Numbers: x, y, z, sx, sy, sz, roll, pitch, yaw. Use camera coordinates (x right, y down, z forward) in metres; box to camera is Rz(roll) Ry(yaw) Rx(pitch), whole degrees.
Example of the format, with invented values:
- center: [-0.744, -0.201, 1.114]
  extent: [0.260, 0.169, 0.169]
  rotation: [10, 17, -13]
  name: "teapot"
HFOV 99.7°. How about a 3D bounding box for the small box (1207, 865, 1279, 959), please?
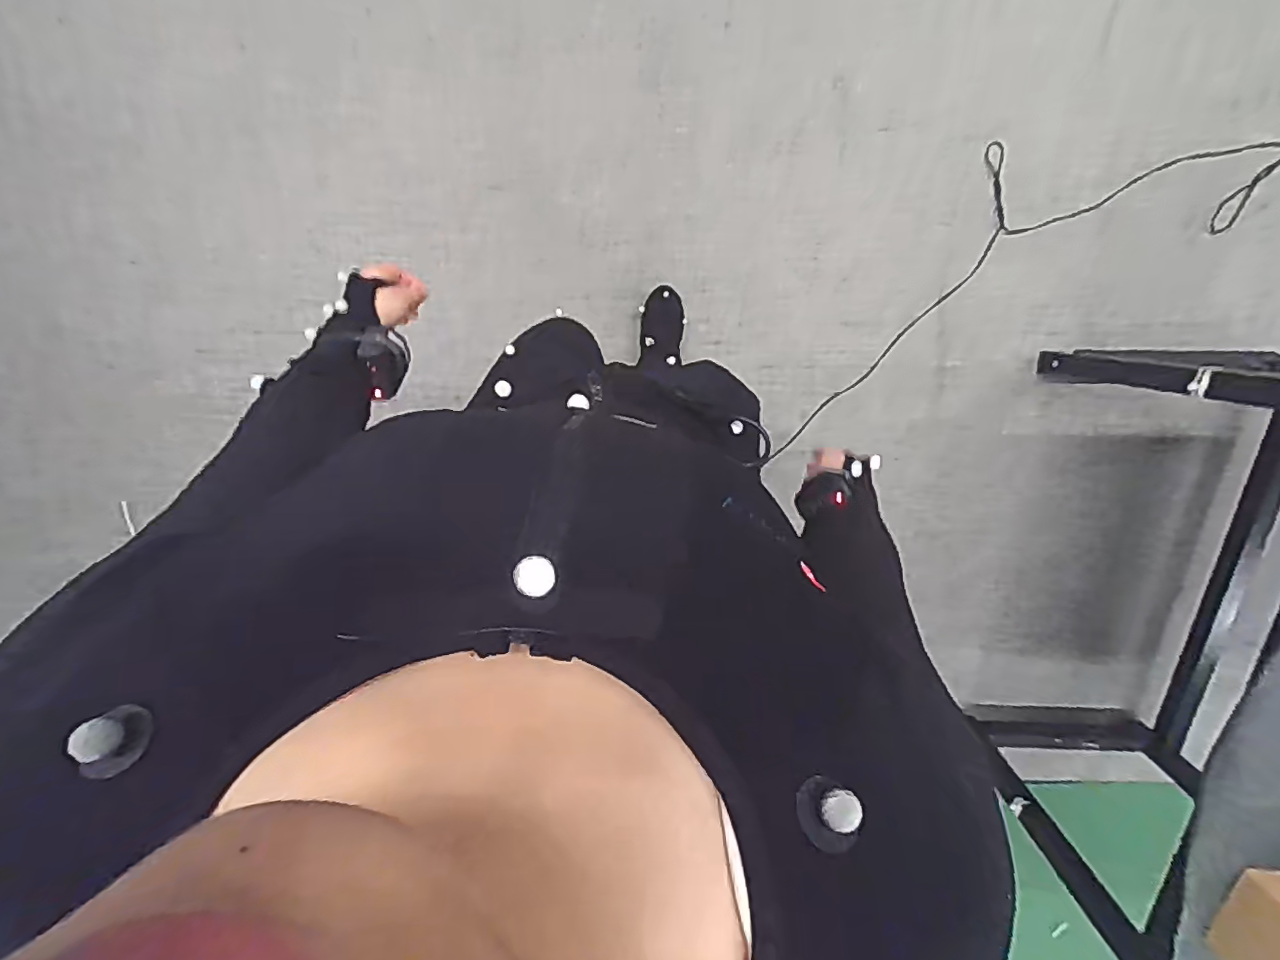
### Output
- center: [1.078, 0.758, 0.856]
  extent: [0.168, 0.176, 0.179]
  rotation: [5, 106, -3]
  name: "small box"
